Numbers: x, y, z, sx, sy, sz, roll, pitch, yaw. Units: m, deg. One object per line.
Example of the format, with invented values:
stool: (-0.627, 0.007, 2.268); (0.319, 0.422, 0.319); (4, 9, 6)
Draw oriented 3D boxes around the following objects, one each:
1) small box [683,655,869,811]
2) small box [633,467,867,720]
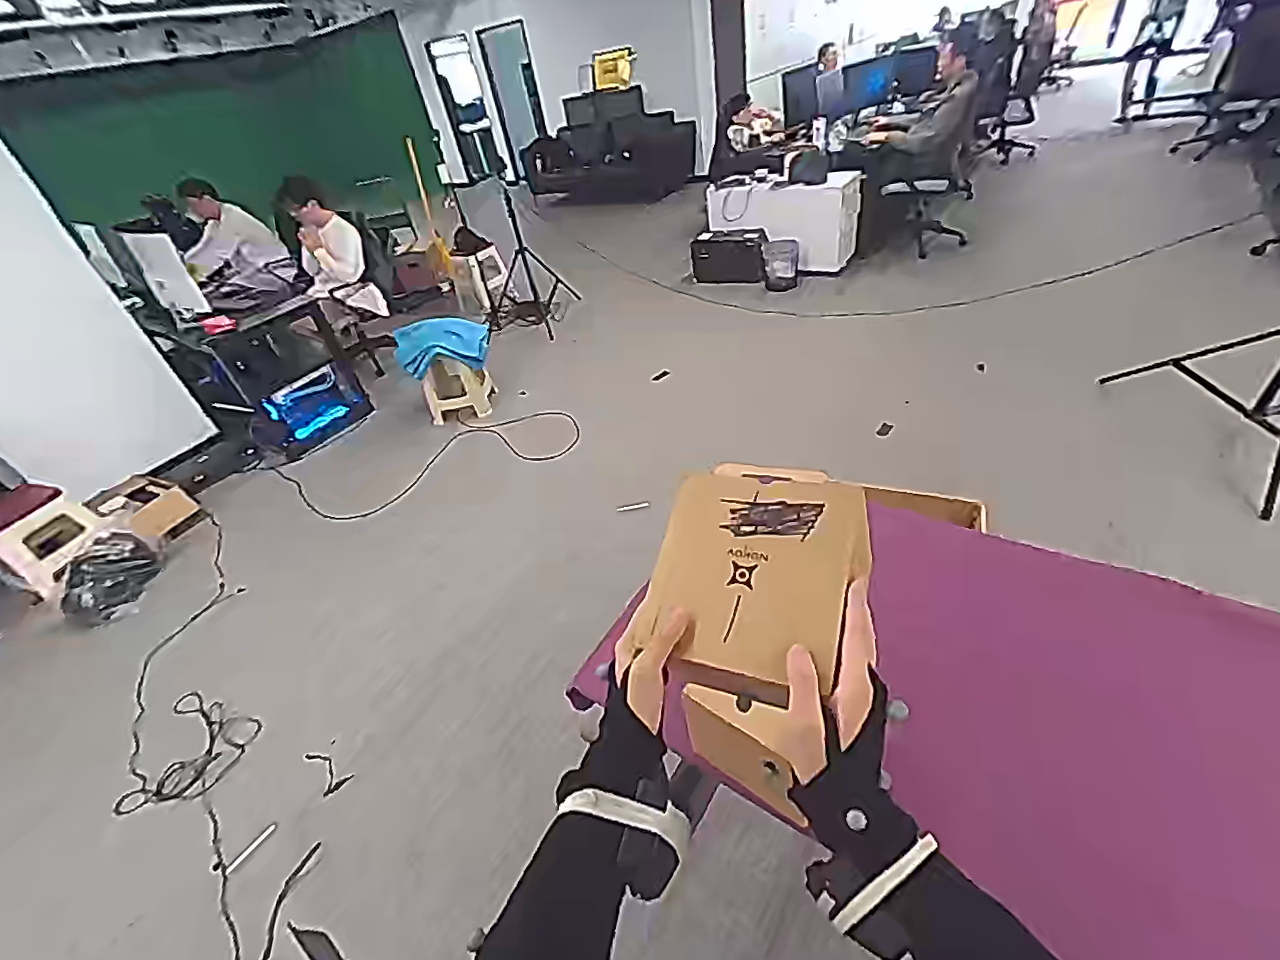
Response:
small box: (0.182, 0.305, 0.724); (0.179, 0.176, 0.168); (21, 49, 35)
small box: (0.118, 0.108, 0.515); (0.168, 0.176, 0.179); (5, 64, 28)
